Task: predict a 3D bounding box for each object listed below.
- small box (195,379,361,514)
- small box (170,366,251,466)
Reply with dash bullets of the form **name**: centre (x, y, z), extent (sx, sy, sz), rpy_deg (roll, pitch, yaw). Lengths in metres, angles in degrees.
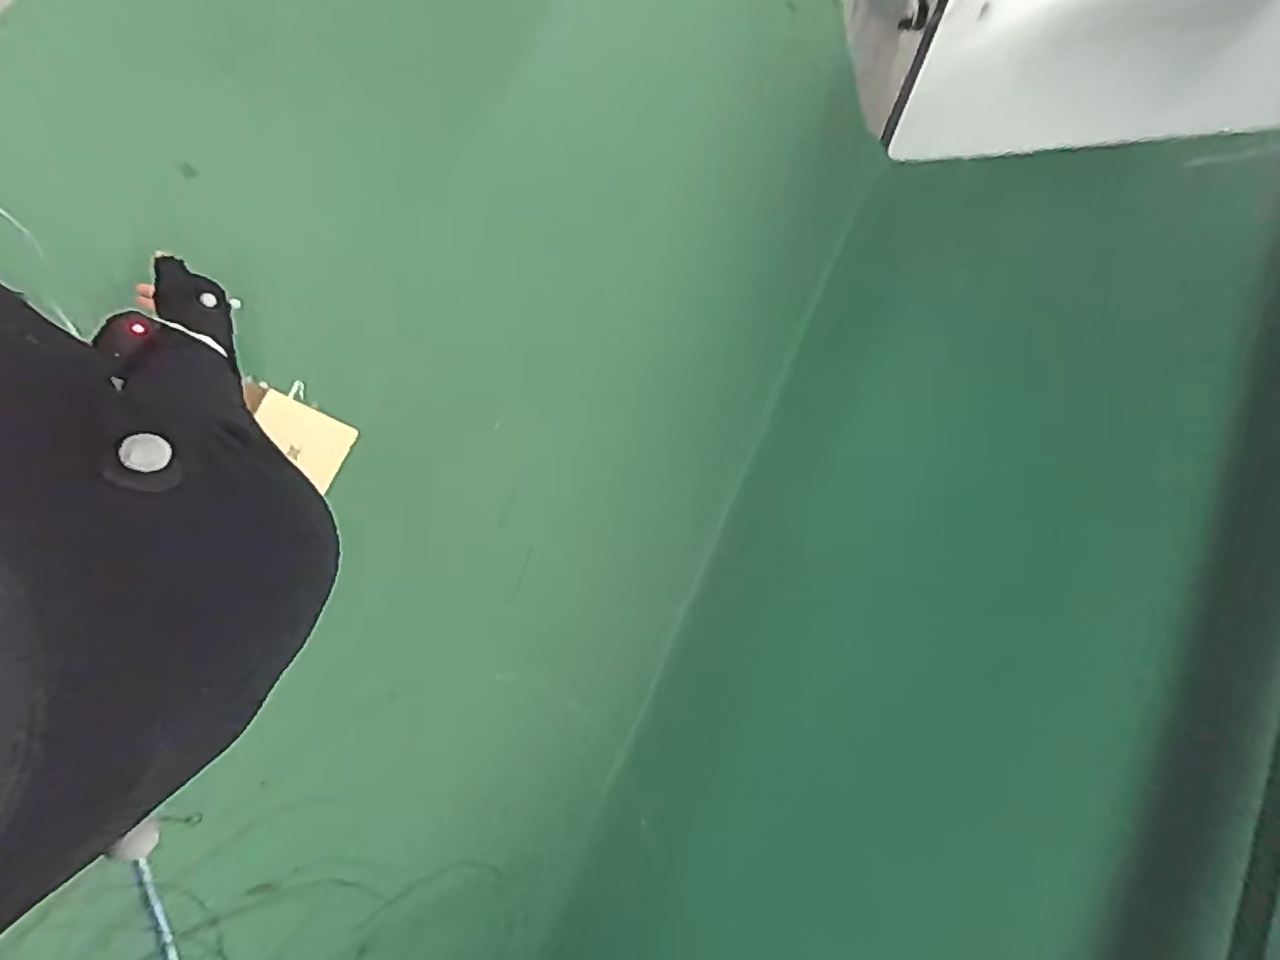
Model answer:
- **small box**: centre (-0.655, -0.064, 0.975), extent (0.168, 0.176, 0.179), rpy_deg (37, 76, -53)
- **small box**: centre (-0.780, -0.102, 1.068), extent (0.179, 0.176, 0.168), rpy_deg (-63, 145, -11)
